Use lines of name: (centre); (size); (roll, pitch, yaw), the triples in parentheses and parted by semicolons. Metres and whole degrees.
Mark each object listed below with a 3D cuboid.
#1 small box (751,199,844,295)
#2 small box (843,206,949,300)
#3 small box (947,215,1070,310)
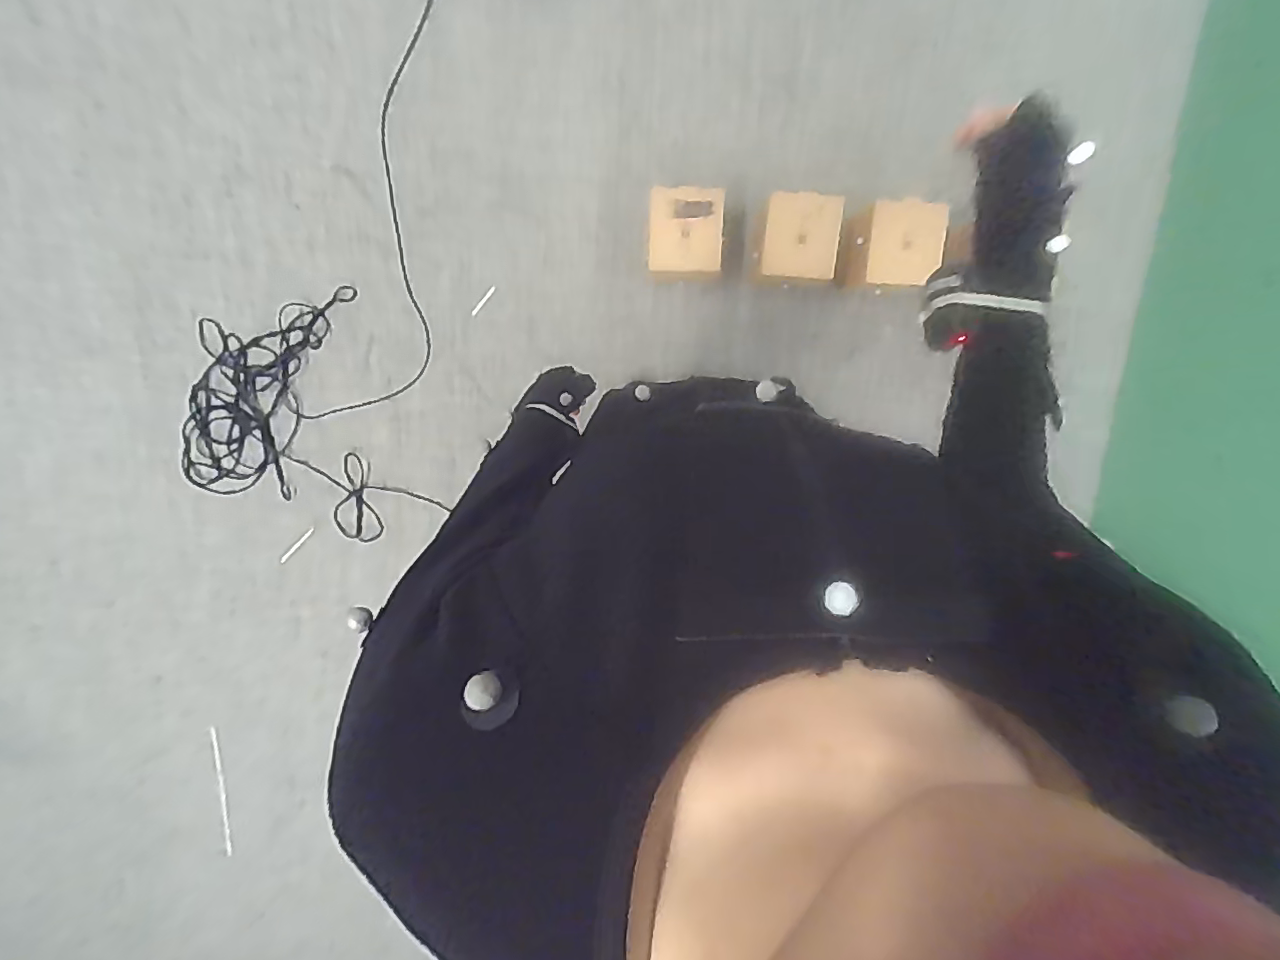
small box: (0.363, -0.542, 1.280); (0.168, 0.176, 0.179); (4, 101, 0)
small box: (0.595, -0.528, 1.279); (0.168, 0.176, 0.179); (2, 100, 1)
small box: (0.857, -0.505, 1.276); (0.168, 0.176, 0.179); (3, 102, 1)
